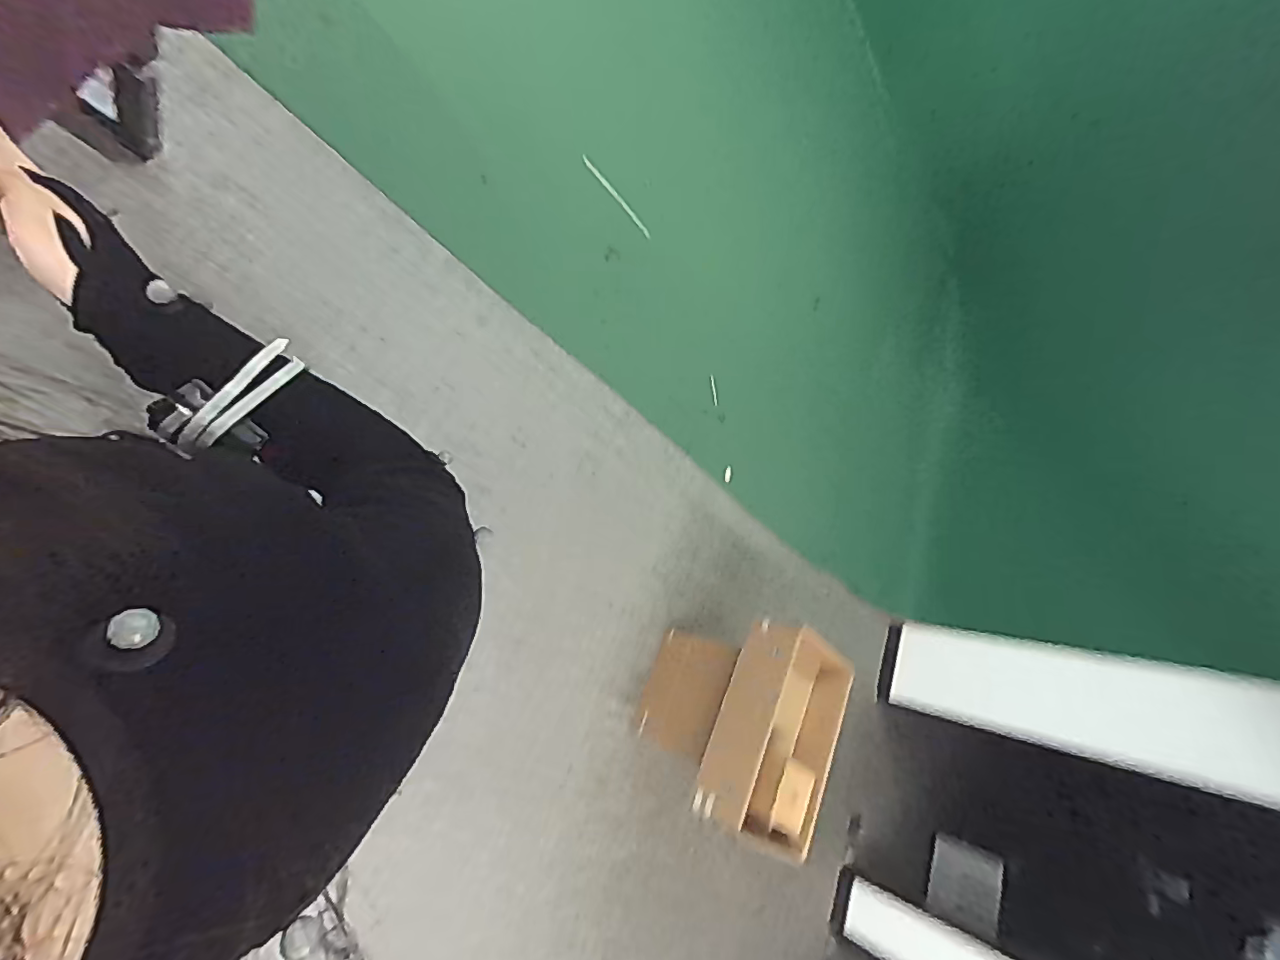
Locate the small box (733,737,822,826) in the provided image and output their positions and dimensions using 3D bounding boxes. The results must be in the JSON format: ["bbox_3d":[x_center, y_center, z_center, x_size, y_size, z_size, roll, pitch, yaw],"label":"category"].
[{"bbox_3d":[0.414,0.905,1.634,0.179,0.176,0.168,42,64,-31],"label":"small box"}]

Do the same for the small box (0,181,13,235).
[{"bbox_3d":[-0.441,-0.219,0.244,0.168,0.176,0.179,-21,112,-41],"label":"small box"}]
